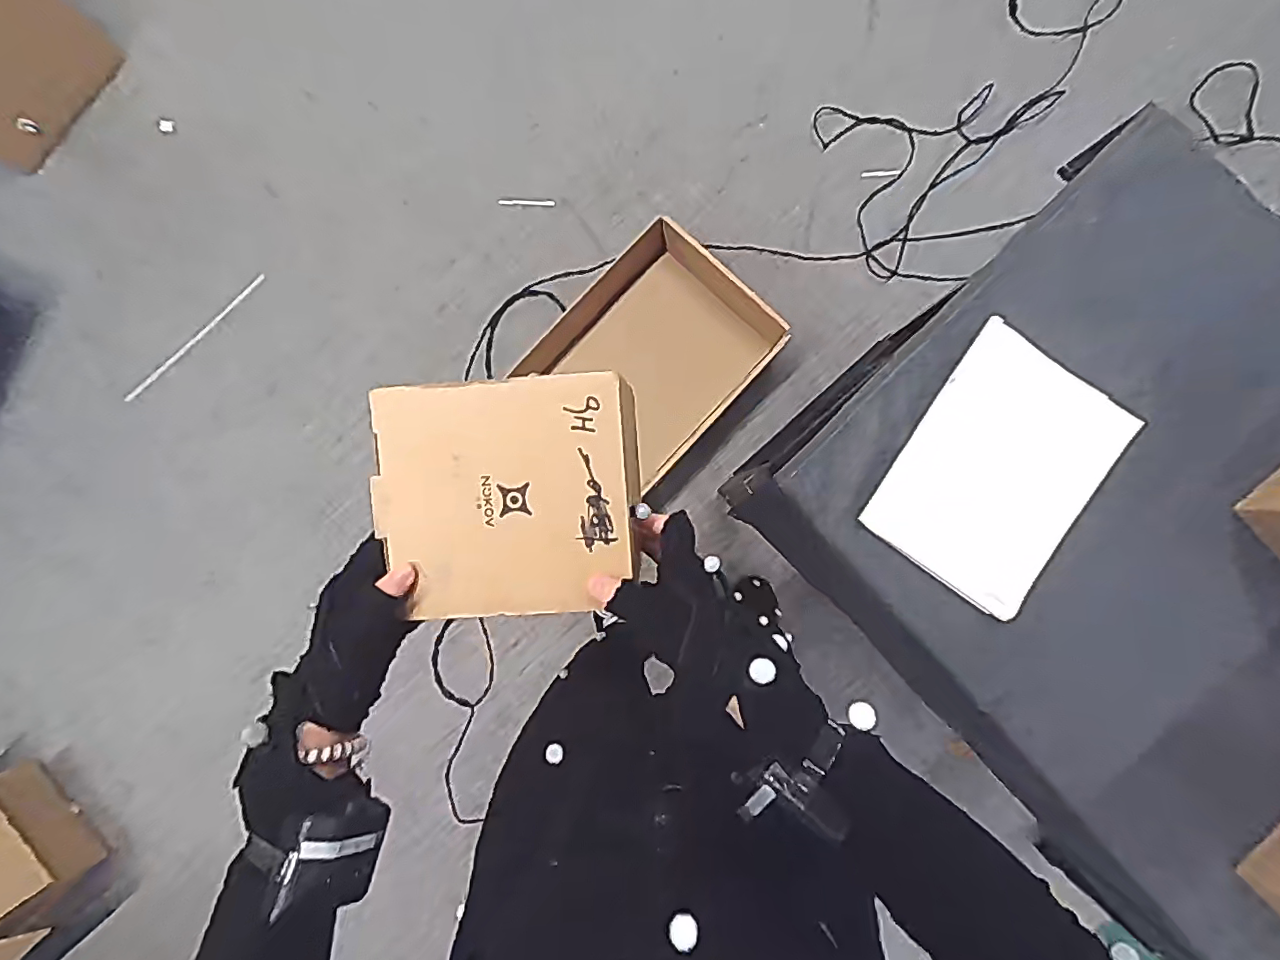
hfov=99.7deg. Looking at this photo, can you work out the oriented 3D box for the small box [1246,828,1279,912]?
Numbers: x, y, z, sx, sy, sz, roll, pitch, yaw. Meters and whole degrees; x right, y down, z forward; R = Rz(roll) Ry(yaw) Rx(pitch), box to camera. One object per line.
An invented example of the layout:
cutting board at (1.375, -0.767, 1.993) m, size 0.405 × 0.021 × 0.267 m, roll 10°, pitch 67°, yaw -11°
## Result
small box at (0.737, 0.406, 0.484) m, size 0.168 × 0.176 × 0.179 m, roll -44°, pitch 88°, yaw -1°
